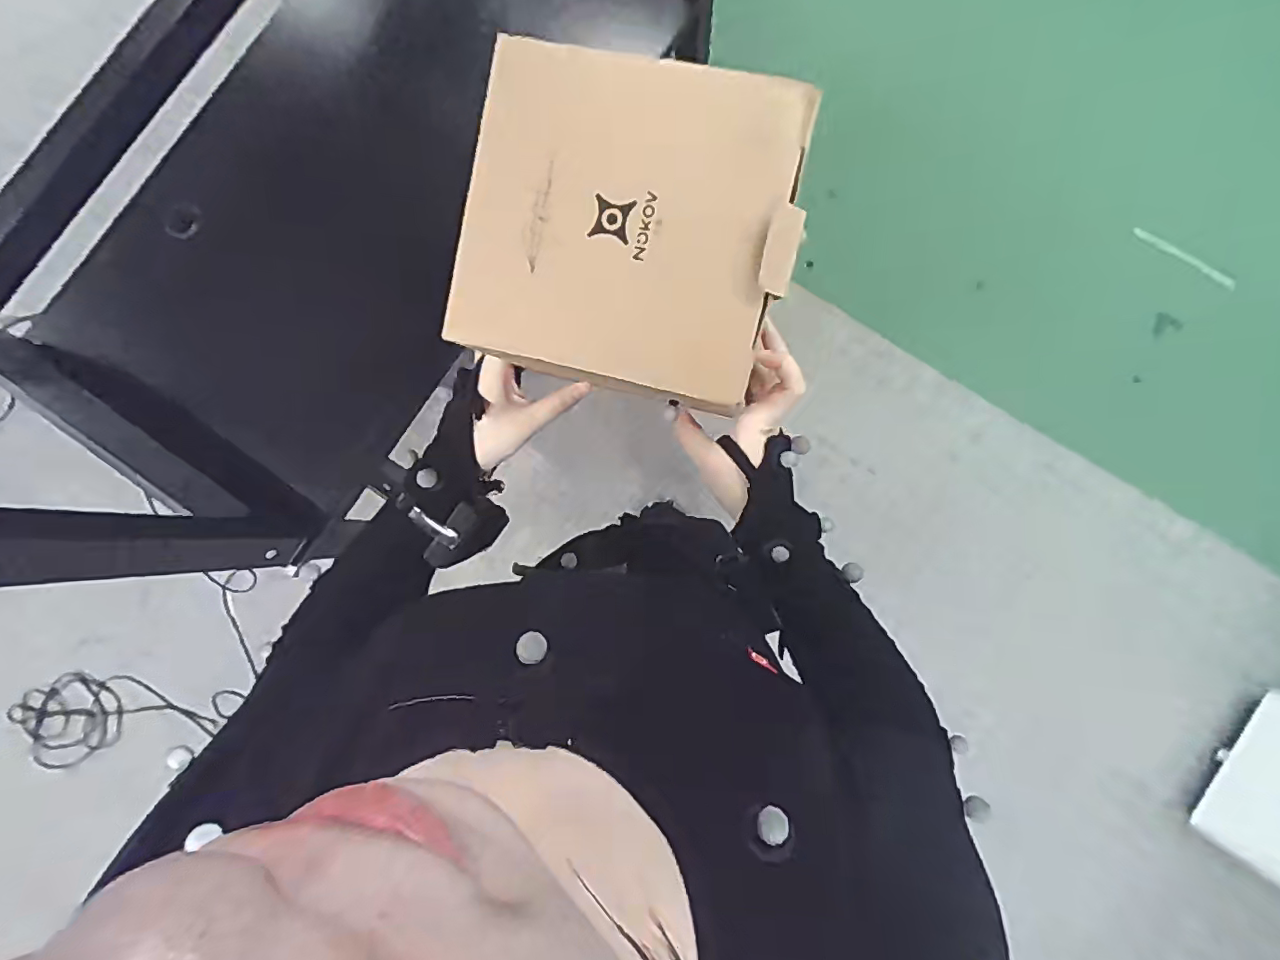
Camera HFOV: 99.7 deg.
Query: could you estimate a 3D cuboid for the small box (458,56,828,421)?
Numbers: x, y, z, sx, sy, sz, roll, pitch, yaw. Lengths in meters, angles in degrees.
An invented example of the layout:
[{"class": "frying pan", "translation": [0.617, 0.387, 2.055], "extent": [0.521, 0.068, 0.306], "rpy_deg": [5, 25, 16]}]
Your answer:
[{"class": "small box", "translation": [0.007, -0.138, 0.373], "extent": [0.179, 0.176, 0.168], "rpy_deg": [14, 95, 8]}]
